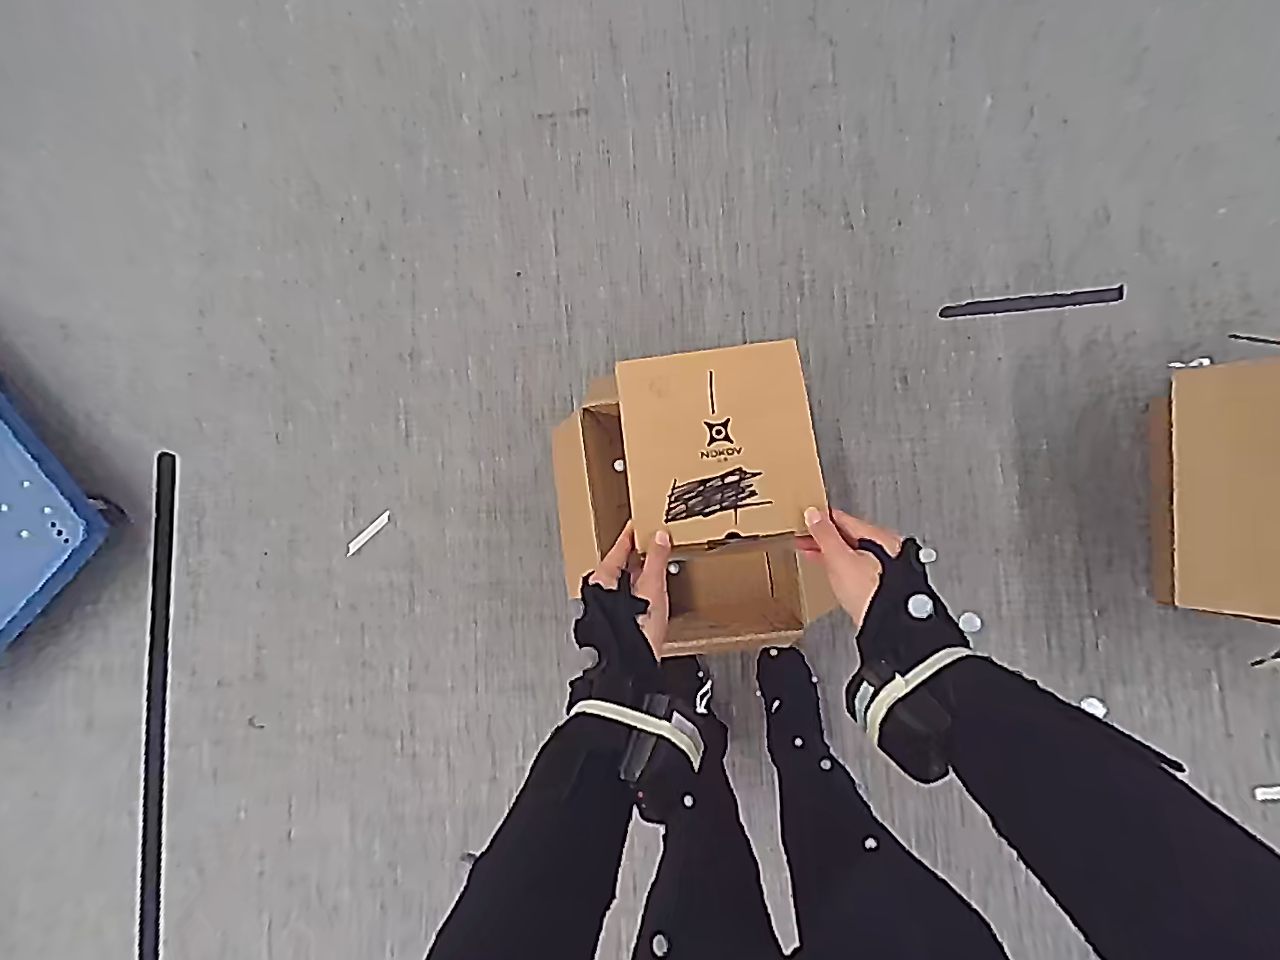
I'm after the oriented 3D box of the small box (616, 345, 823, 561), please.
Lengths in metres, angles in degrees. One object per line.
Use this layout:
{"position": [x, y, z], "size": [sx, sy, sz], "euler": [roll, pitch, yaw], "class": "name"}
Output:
{"position": [0.071, -0.013, 0.554], "size": [0.168, 0.176, 0.179], "euler": [-7, 76, 1], "class": "small box"}
